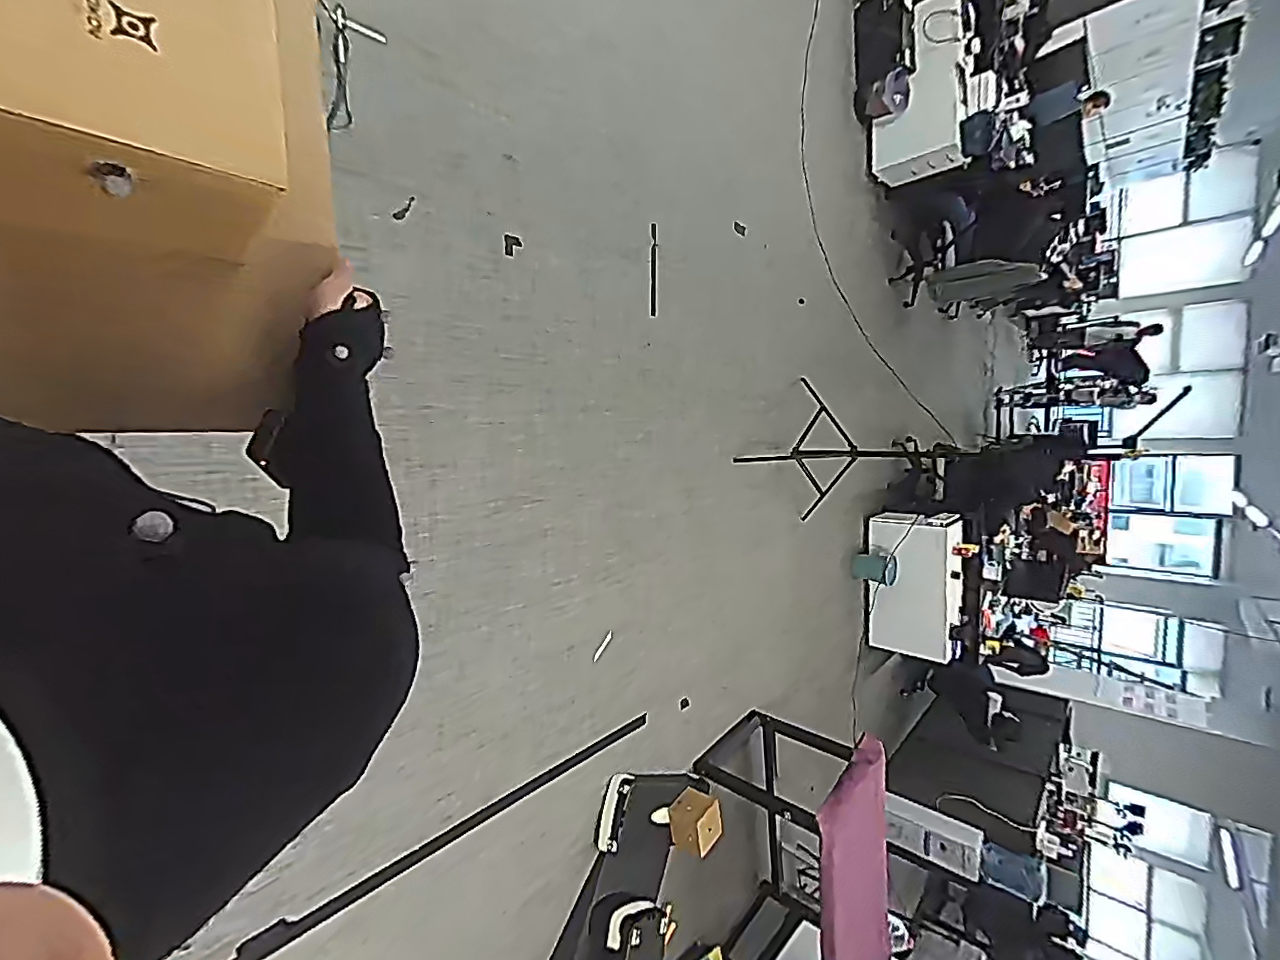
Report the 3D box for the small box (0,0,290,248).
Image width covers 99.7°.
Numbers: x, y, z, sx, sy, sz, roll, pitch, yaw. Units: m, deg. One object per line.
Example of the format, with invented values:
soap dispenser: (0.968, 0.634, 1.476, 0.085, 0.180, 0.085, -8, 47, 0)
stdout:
small box: (-0.399, -0.301, 0.420, 0.179, 0.176, 0.168, -5, 91, -45)
